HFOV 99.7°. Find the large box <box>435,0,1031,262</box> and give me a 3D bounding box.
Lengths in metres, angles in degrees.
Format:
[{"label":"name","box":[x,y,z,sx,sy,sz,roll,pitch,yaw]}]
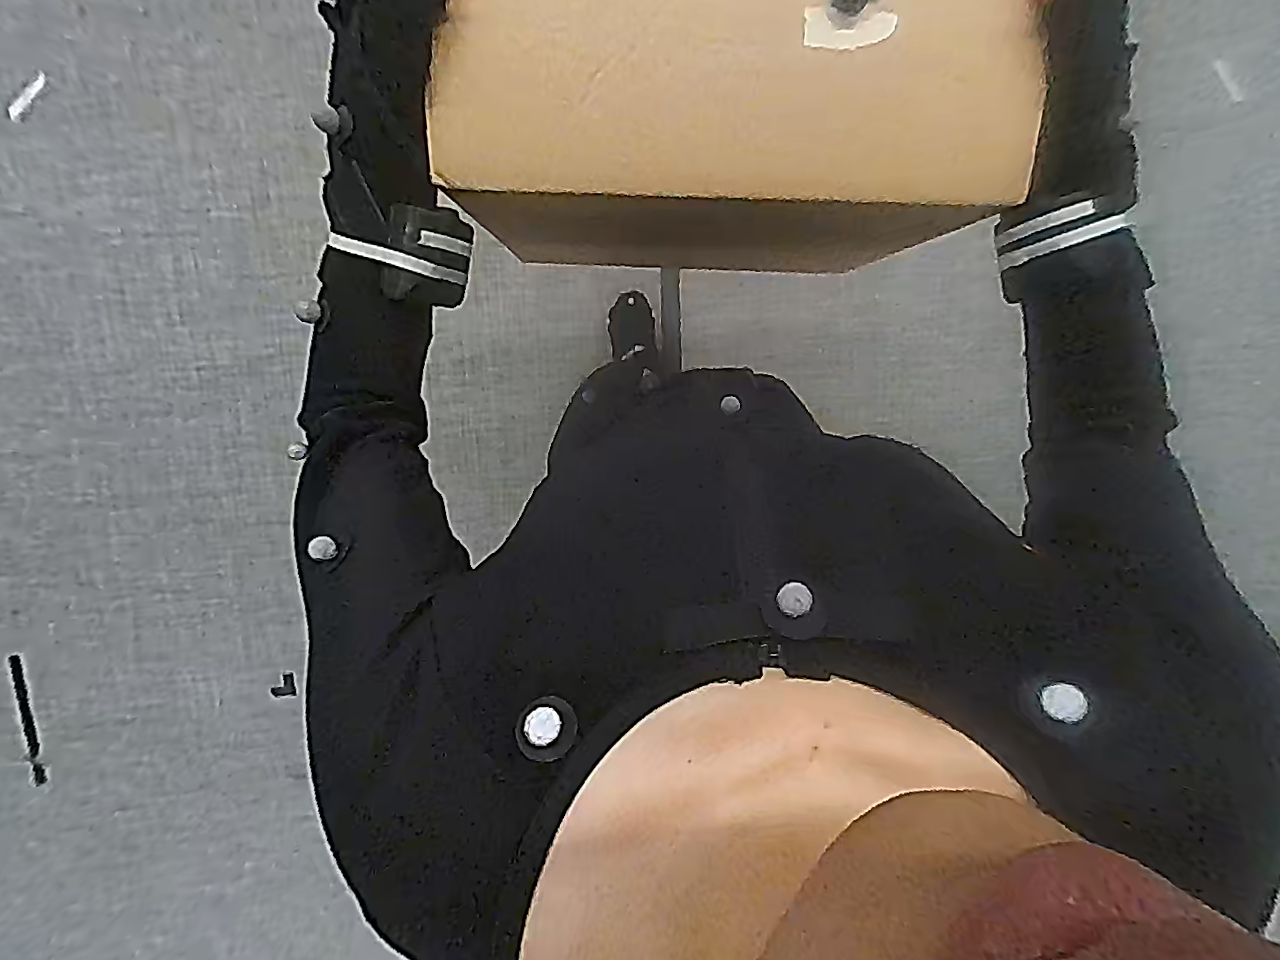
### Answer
[{"label":"large box","box":[0.058,-0.390,0.493,0.408,0.320,0.320,1,103,-2]}]
